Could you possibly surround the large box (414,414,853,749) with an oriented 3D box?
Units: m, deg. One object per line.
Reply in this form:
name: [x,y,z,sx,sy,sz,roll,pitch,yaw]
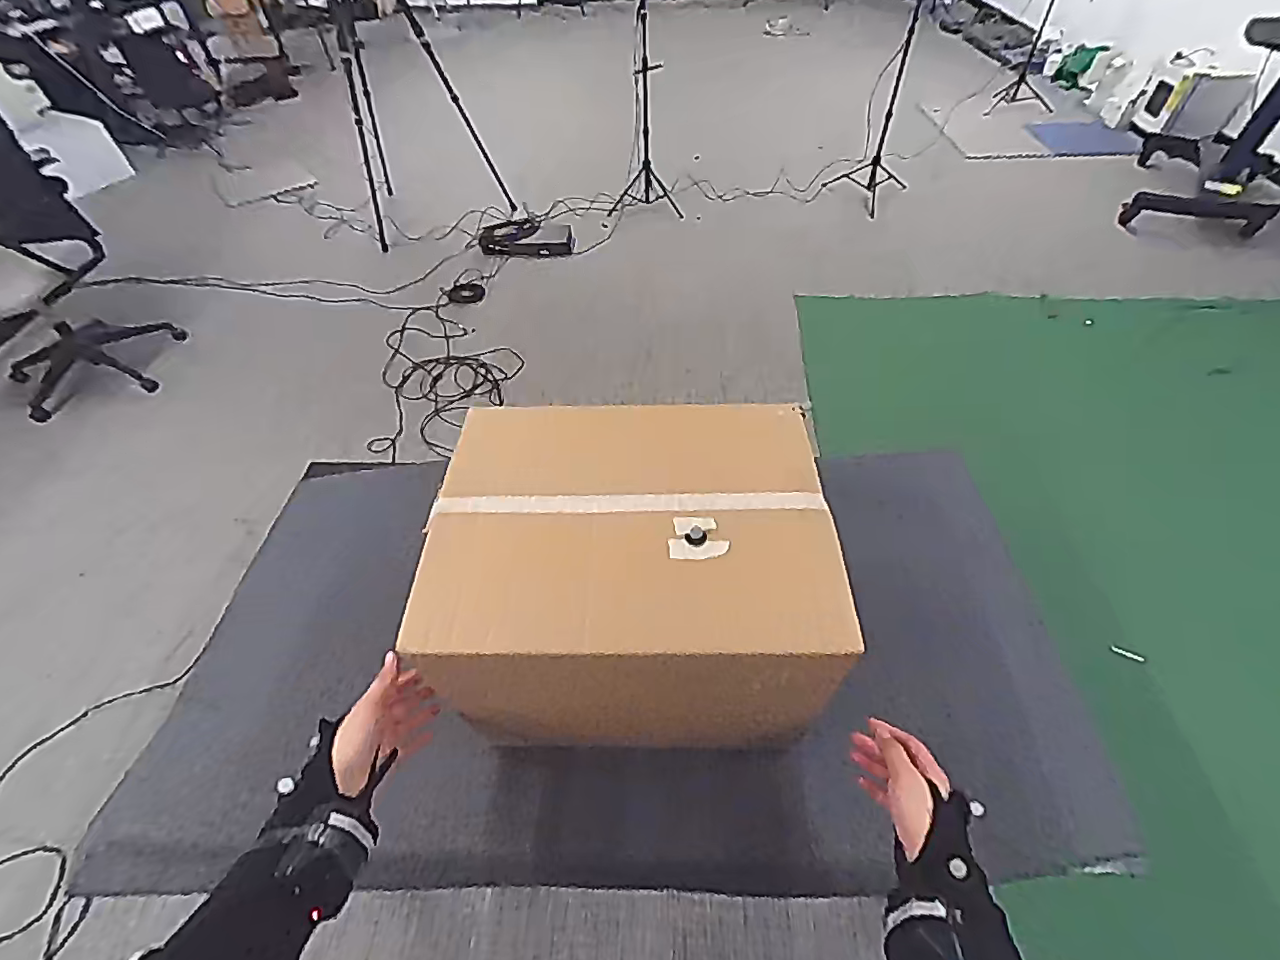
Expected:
large box: [-0.006,0.134,0.688,0.408,0.320,0.320,0,50,1]
